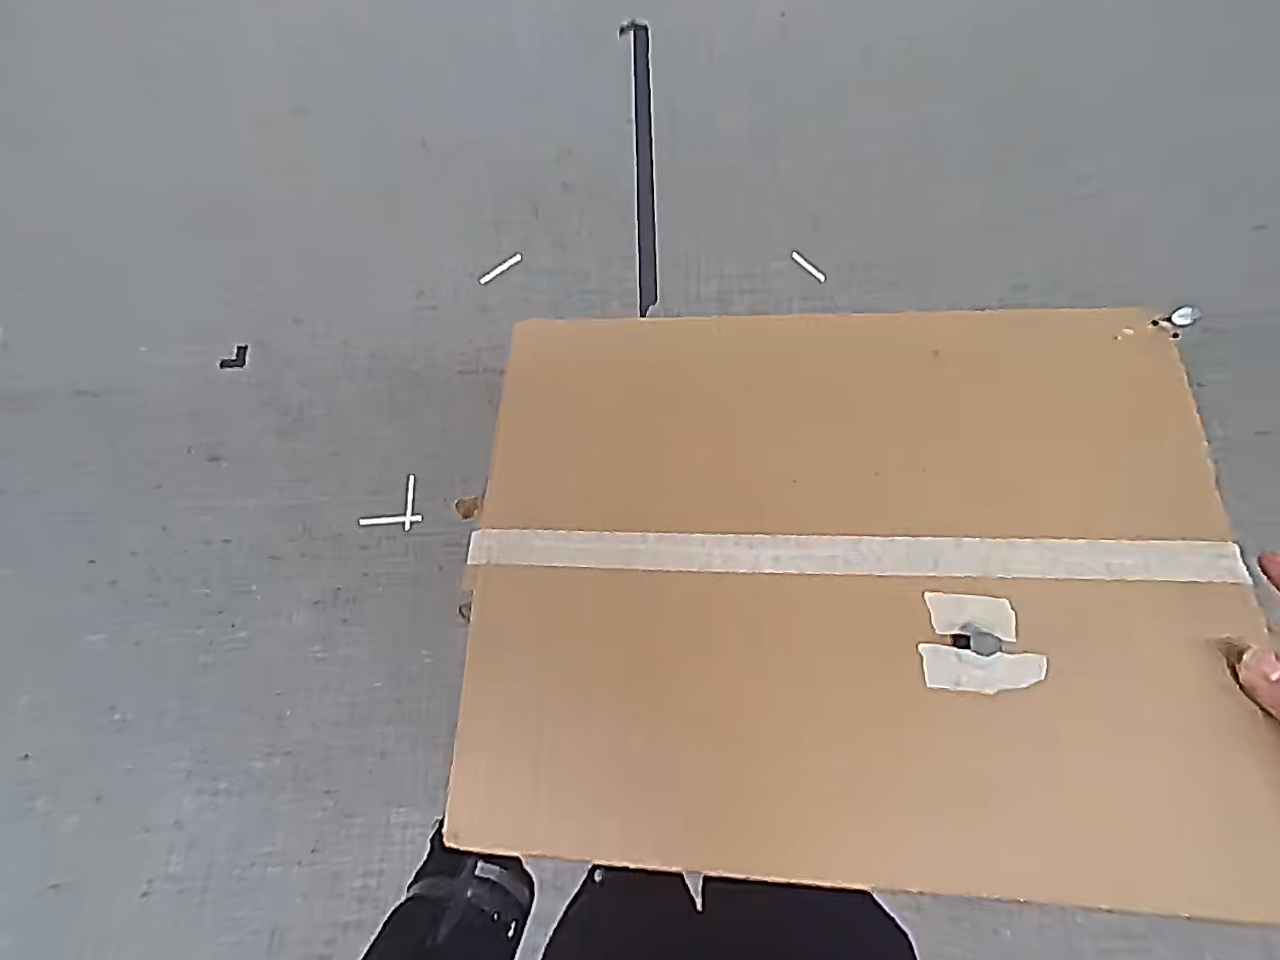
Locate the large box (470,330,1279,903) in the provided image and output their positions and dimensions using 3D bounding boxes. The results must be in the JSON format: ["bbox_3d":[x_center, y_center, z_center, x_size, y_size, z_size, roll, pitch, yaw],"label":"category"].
[{"bbox_3d":[0.122,0.099,0.454,0.408,0.320,0.320,0,72,6],"label":"large box"}]
